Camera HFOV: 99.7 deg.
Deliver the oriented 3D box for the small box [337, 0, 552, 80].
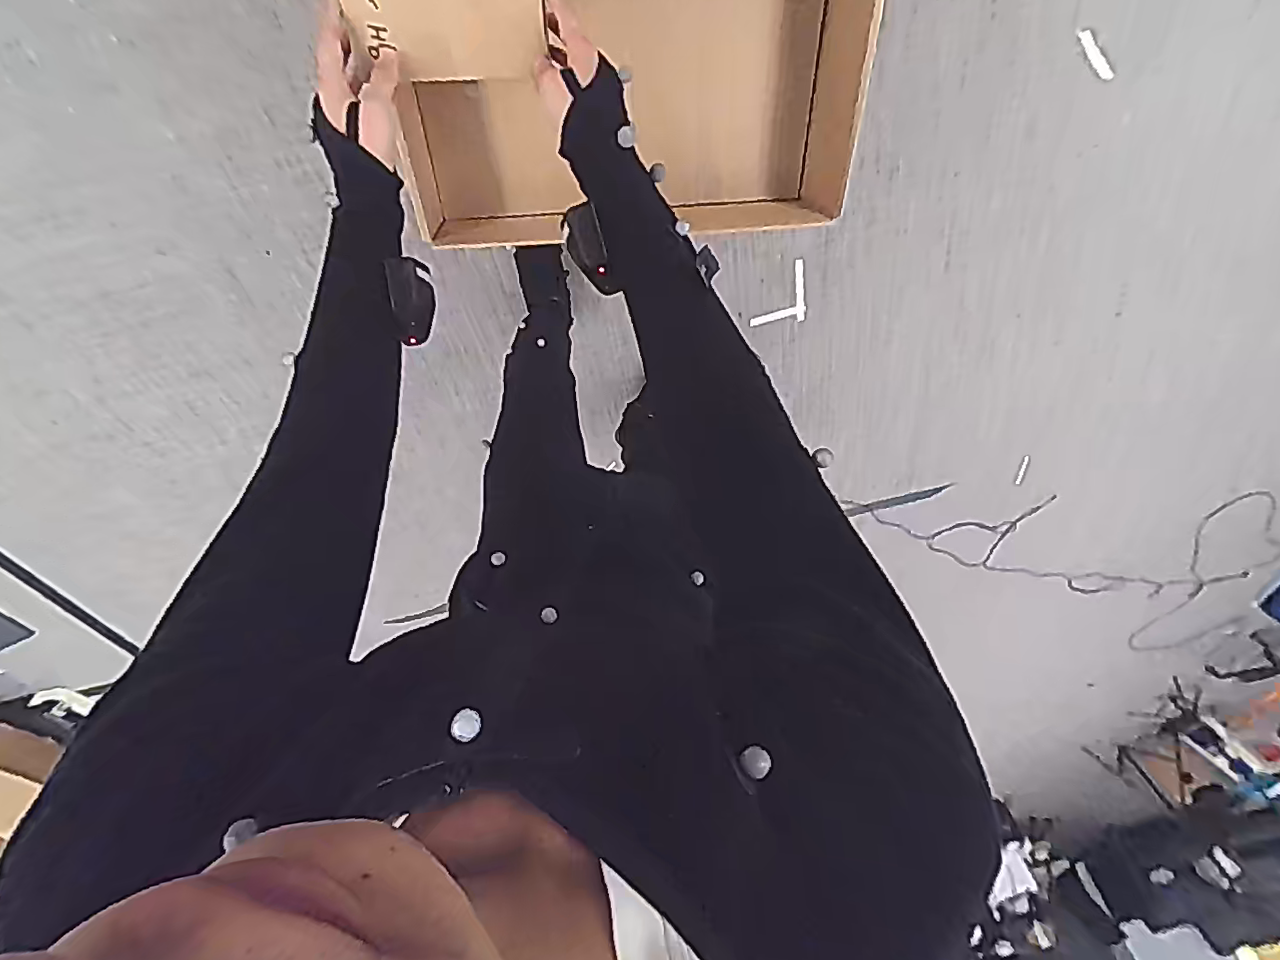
[{"bbox_3d":[-0.180,-0.478,0.504,0.179,0.176,0.168,-6,128,-7],"label":"small box"}]
